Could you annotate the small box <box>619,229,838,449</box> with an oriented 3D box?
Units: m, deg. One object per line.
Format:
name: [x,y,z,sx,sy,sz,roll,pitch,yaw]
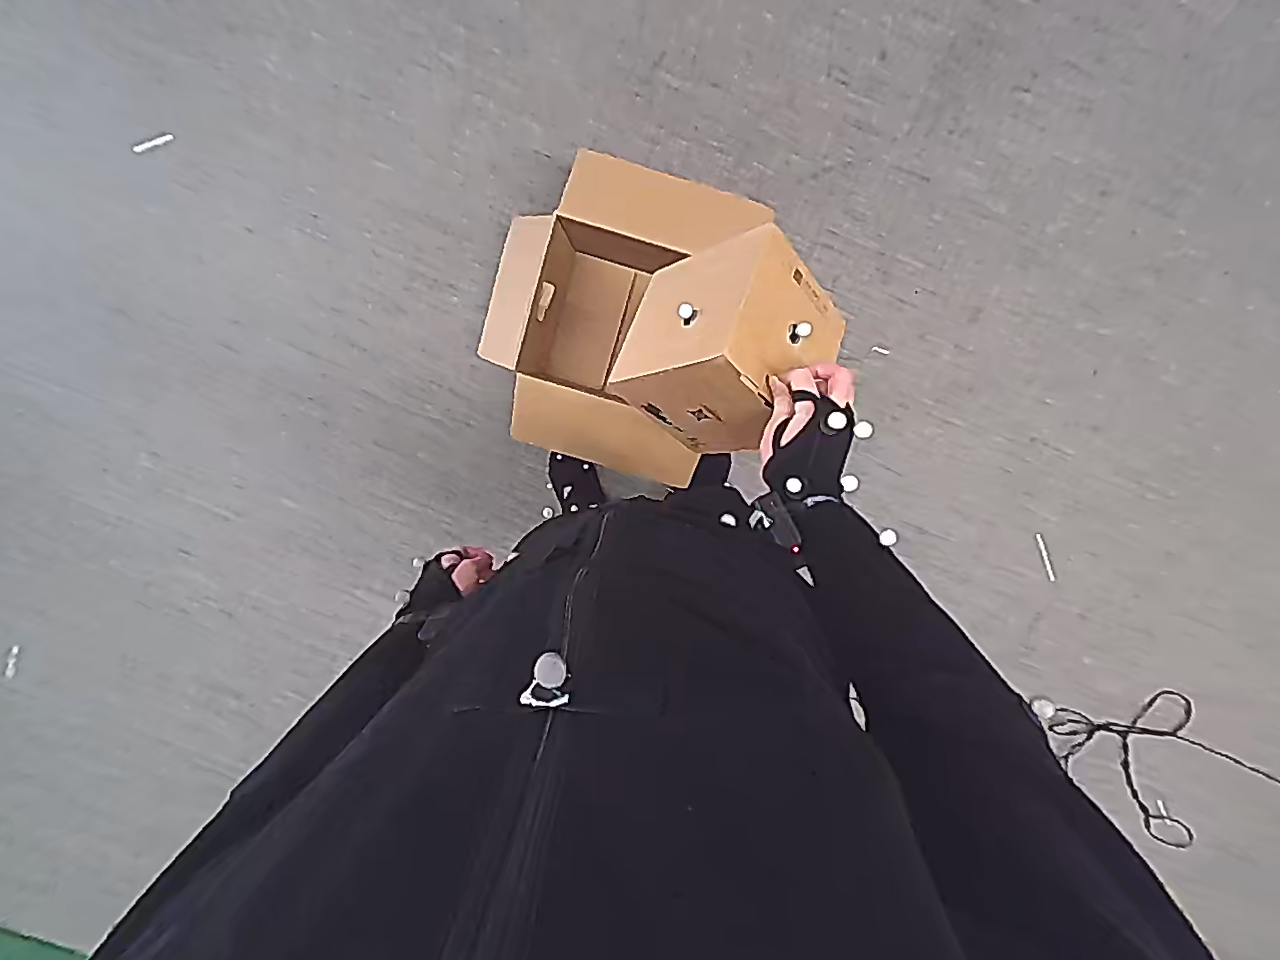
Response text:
small box: [0.110,-0.152,0.625,0.168,0.179,0.176,34,68,-35]
